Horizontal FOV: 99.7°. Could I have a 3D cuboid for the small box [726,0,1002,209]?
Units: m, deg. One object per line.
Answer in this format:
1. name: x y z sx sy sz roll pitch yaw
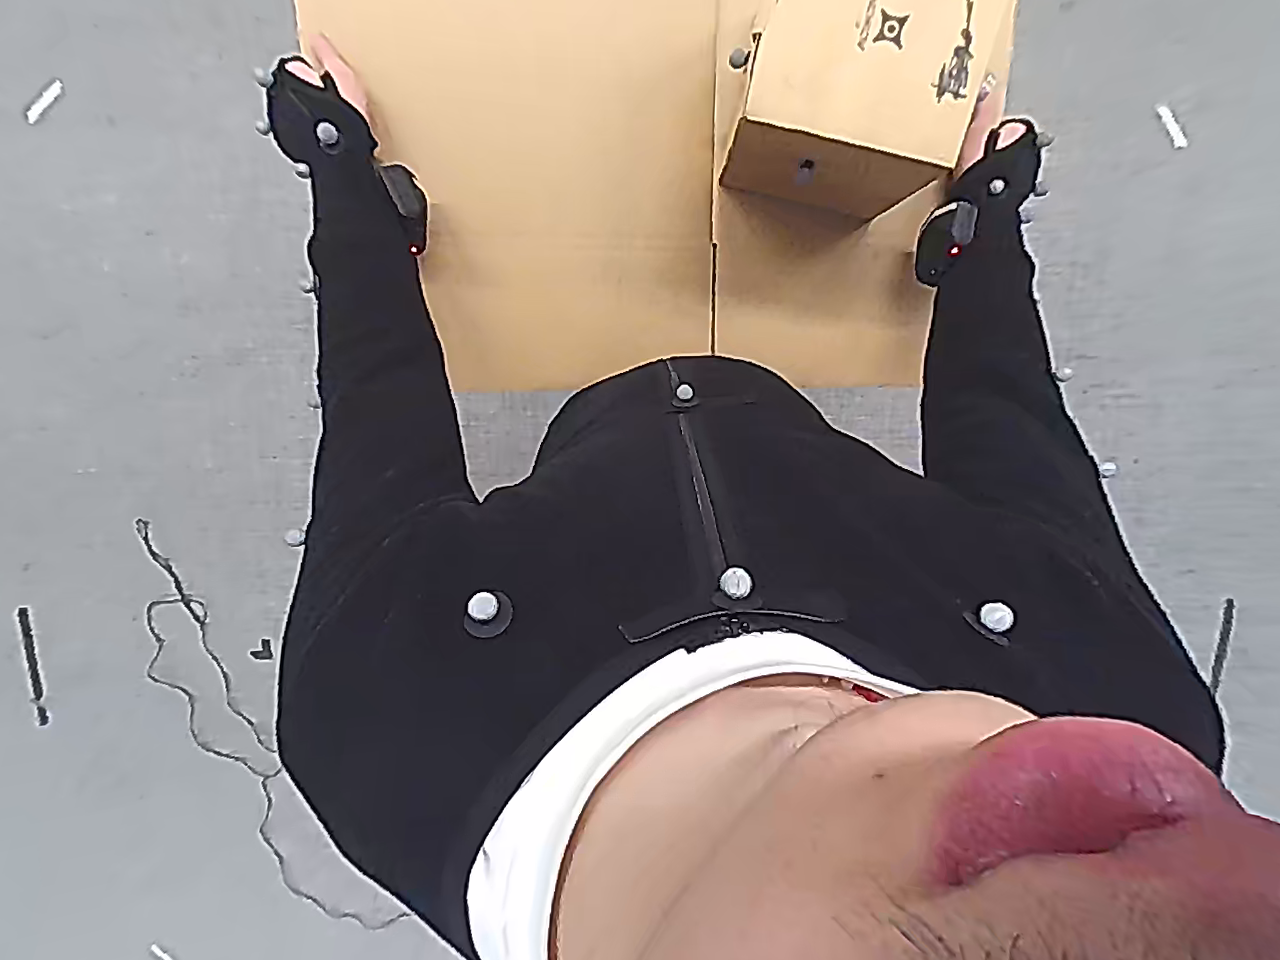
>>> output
1. small box: 0.185 -0.366 0.490 0.179 0.176 0.168 13 103 0
